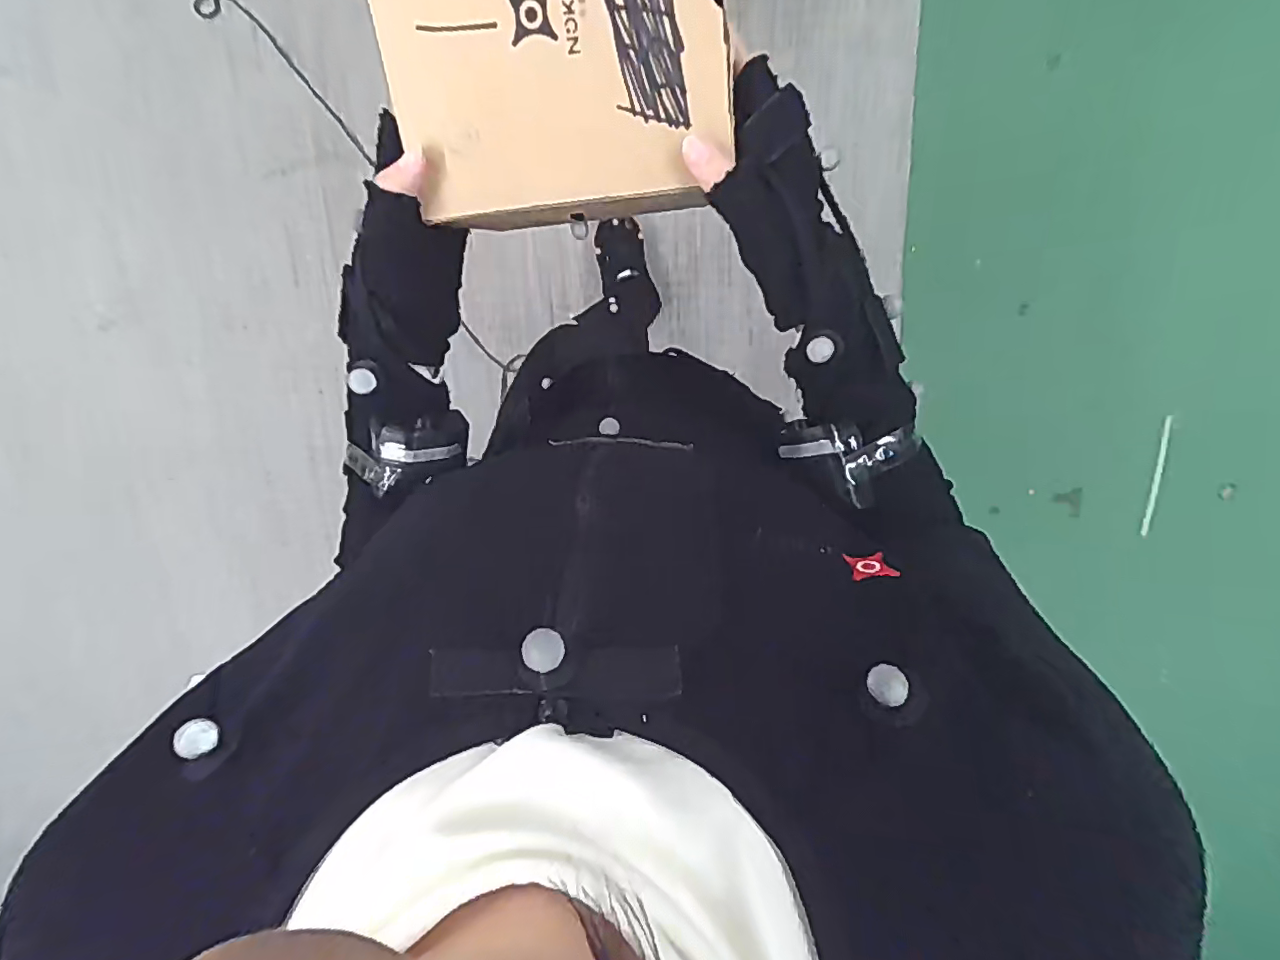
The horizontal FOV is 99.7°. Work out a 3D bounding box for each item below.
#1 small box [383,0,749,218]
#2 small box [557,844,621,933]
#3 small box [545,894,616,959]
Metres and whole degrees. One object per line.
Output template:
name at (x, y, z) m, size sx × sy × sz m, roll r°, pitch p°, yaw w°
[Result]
small box at (-0.040, -0.269, 0.338) m, size 0.179 × 0.176 × 0.168 m, roll -9°, pitch 113°, yaw 4°
small box at (-0.155, 1.281, 1.699) m, size 0.179 × 0.176 × 0.168 m, roll -2°, pitch 106°, yaw 1°
small box at (-0.165, 1.322, 1.541) m, size 0.179 × 0.176 × 0.168 m, roll 0°, pitch 106°, yaw 3°
